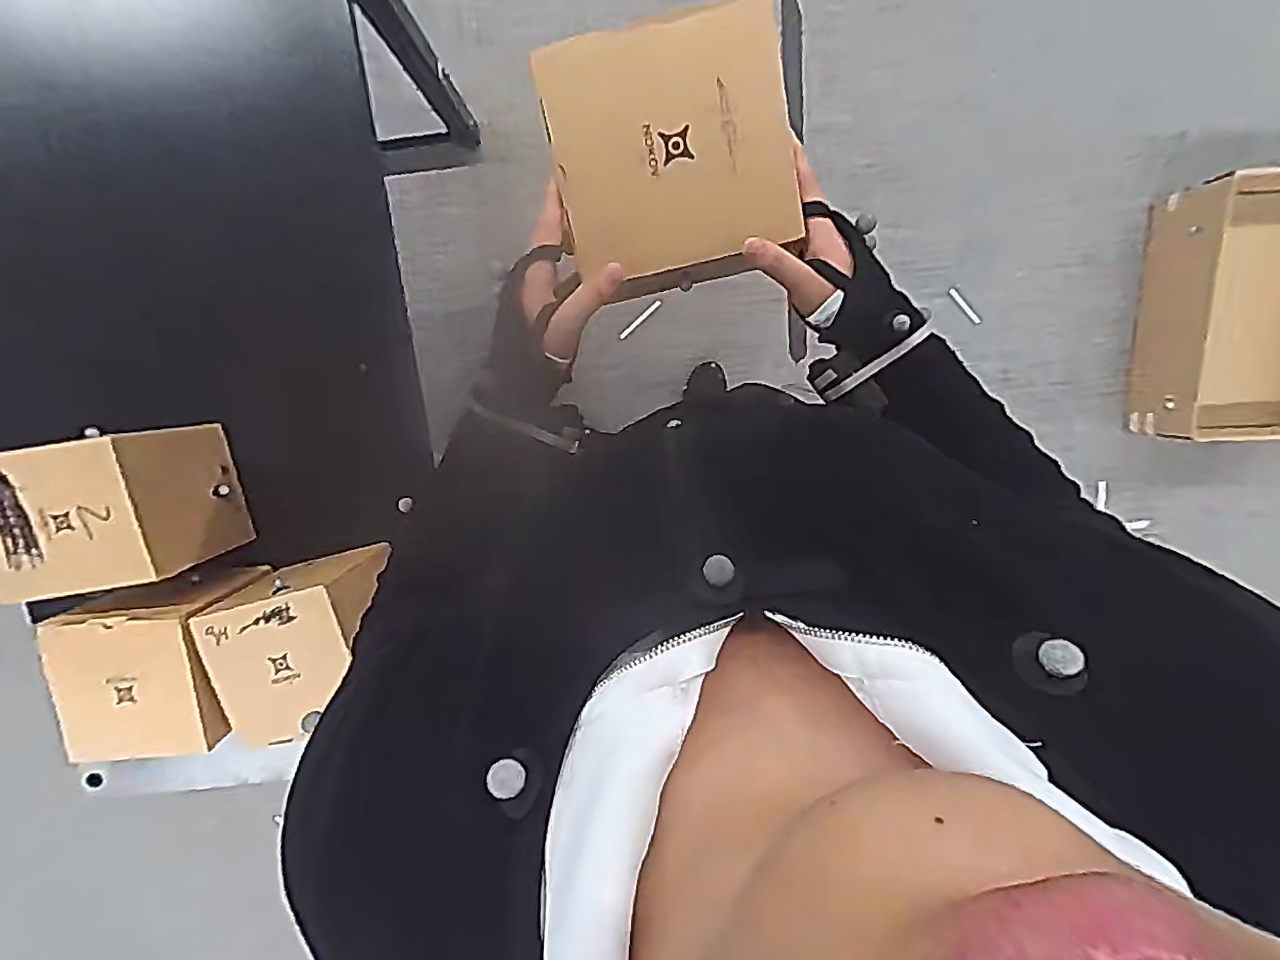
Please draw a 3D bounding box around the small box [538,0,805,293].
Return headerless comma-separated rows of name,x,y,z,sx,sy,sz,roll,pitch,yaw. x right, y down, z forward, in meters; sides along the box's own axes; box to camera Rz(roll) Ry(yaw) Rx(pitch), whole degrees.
small box,0.027,-0.271,0.479,0.179,0.176,0.168,-13,105,3
